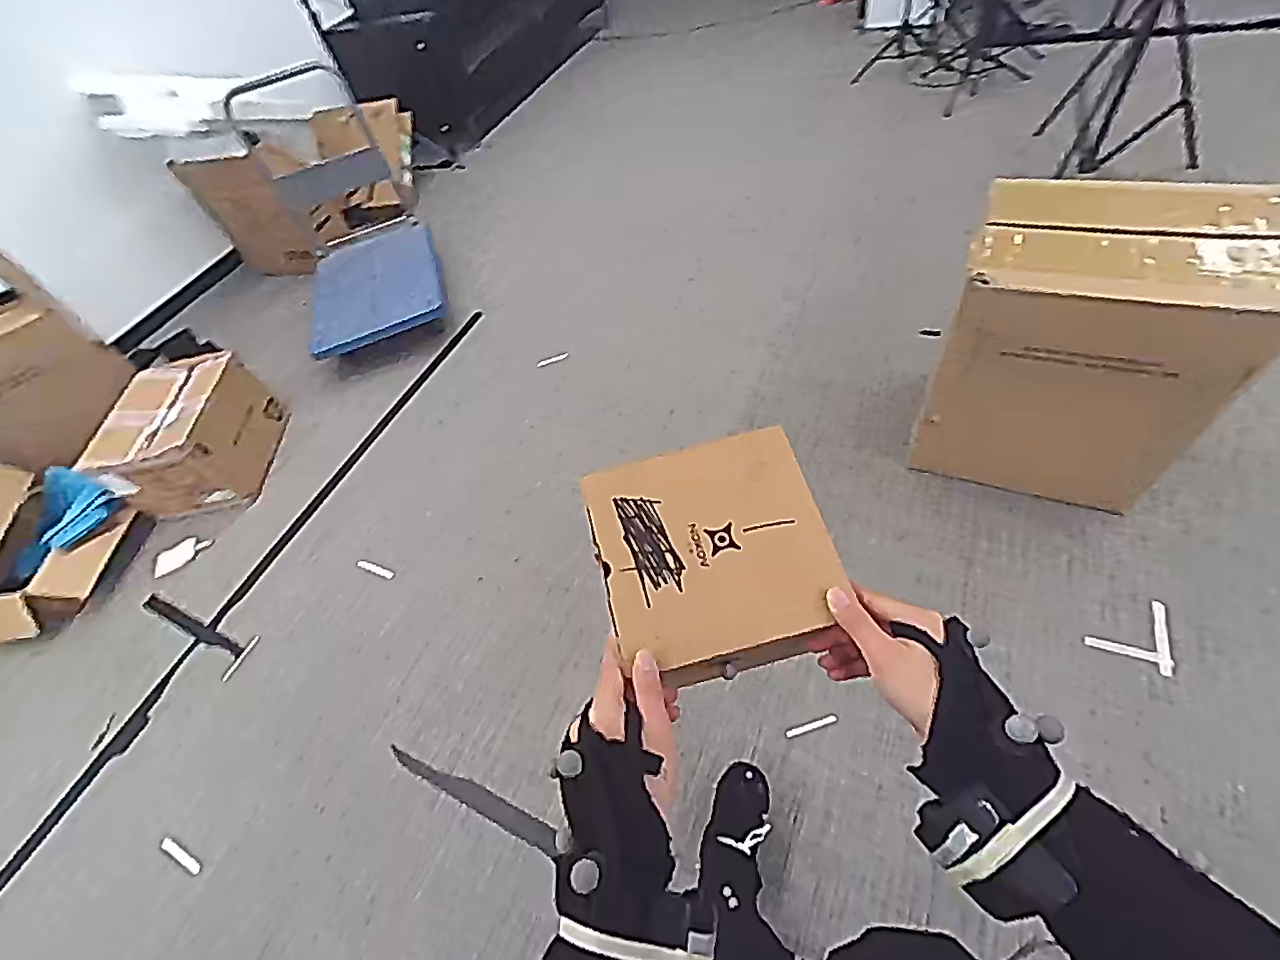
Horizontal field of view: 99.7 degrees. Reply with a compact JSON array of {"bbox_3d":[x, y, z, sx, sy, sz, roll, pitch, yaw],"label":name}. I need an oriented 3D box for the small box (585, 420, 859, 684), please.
[{"bbox_3d":[0.062,0.075,0.487,0.179,0.176,0.168,-14,64,-2],"label":"small box"}]
